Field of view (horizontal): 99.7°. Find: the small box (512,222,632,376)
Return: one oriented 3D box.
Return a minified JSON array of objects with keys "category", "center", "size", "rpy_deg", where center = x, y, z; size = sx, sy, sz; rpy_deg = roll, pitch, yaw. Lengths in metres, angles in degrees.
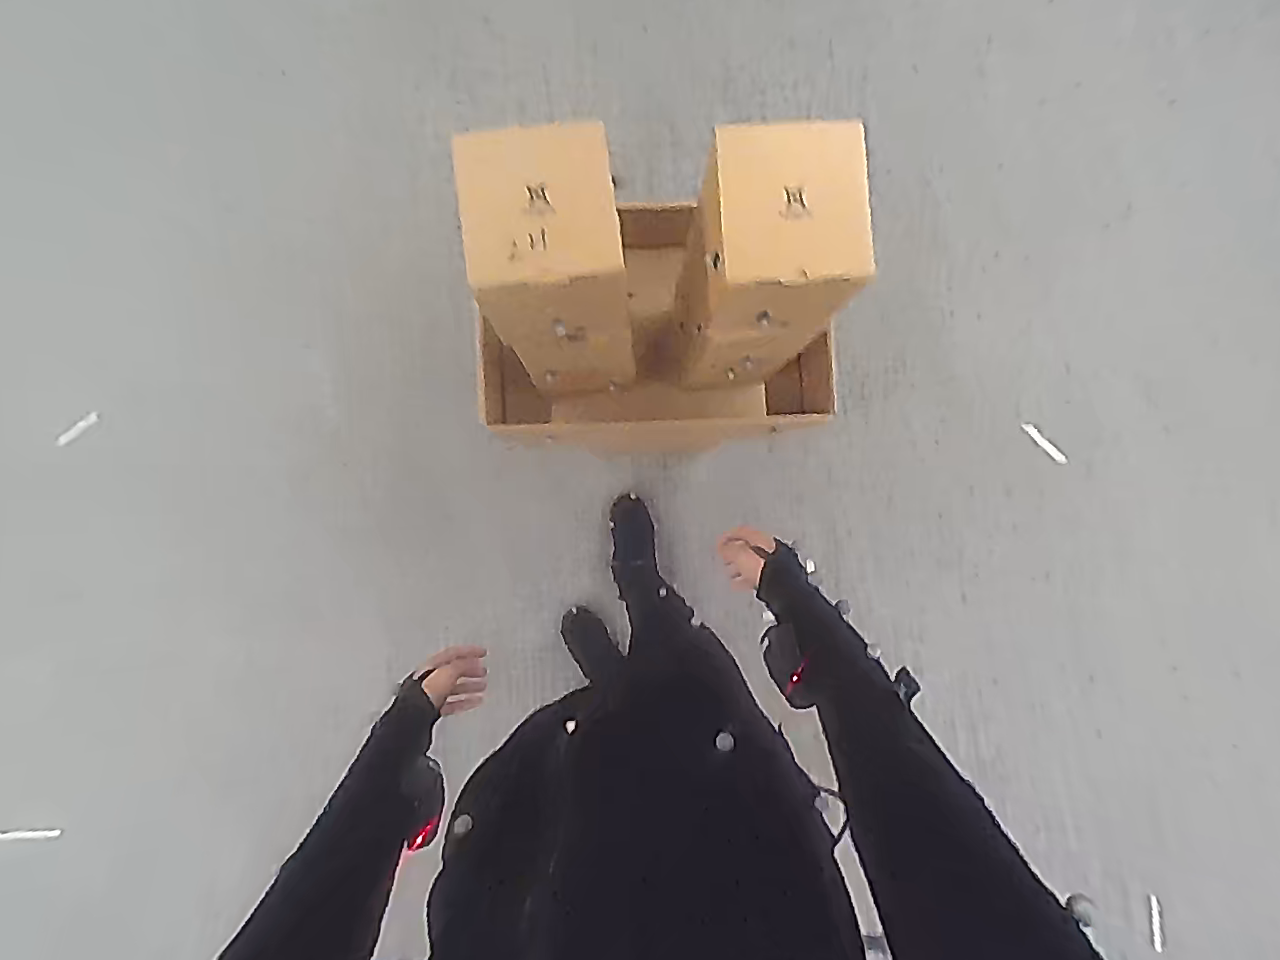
[{"category":"small box","center":[-0.101,-0.262,0.816],"size":[0.168,0.176,0.179],"rpy_deg":[-6,85,-2]}]

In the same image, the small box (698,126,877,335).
[{"category":"small box","center":[0.166,-0.291,0.661],"size":[0.168,0.176,0.179],"rpy_deg":[-4,88,-1]}]

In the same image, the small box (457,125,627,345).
[{"category":"small box","center":[-0.108,-0.281,0.652],"size":[0.168,0.176,0.179],"rpy_deg":[-8,85,-2]}]
